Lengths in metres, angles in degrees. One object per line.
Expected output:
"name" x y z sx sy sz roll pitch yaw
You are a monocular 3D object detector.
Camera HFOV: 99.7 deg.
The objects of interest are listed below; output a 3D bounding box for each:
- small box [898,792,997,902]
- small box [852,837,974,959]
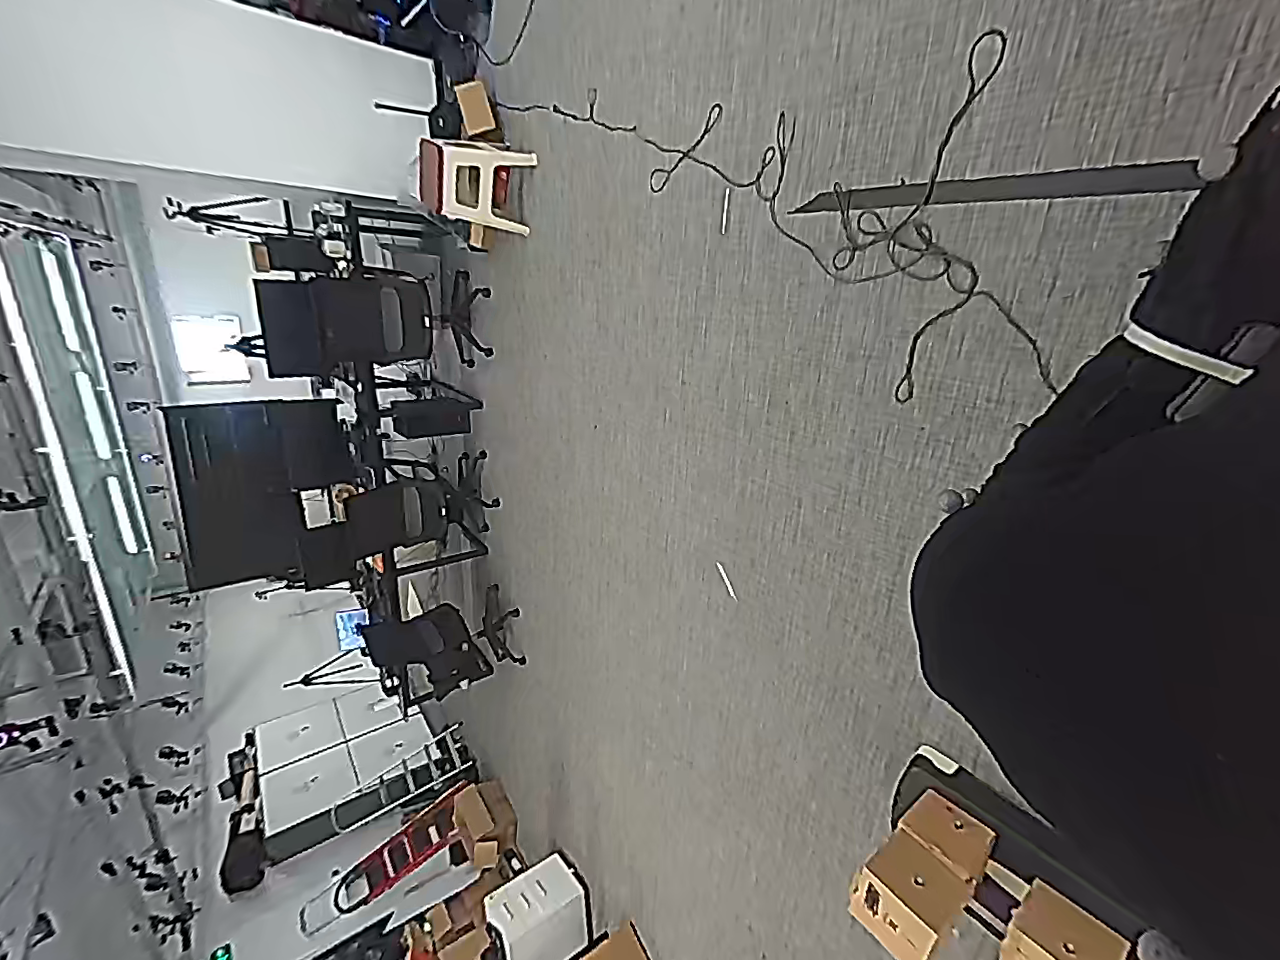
"small box" 0.765 0.940 1.361 0.168 0.176 0.179 23 117 49
"small box" 0.636 0.982 1.266 0.179 0.176 0.168 30 122 45
